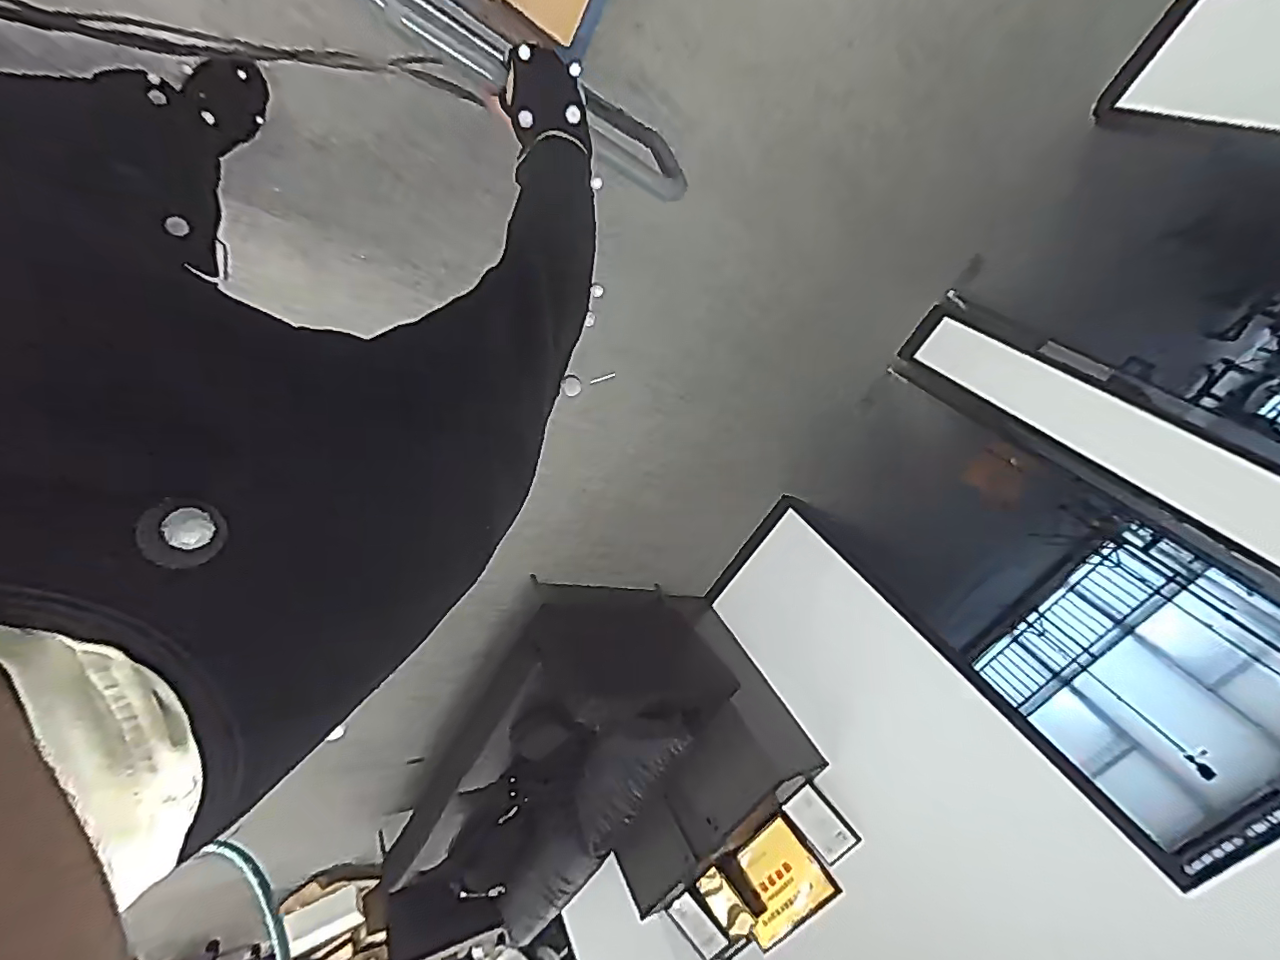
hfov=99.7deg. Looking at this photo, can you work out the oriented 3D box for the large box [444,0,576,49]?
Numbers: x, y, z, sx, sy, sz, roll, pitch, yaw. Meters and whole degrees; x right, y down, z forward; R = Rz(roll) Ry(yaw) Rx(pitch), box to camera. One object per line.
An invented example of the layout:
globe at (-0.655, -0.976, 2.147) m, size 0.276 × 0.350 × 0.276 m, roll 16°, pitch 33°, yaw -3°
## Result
large box at (-0.234, -0.992, 0.848) m, size 0.320 × 0.320 × 0.408 m, roll 11°, pitch 119°, yaw -41°
